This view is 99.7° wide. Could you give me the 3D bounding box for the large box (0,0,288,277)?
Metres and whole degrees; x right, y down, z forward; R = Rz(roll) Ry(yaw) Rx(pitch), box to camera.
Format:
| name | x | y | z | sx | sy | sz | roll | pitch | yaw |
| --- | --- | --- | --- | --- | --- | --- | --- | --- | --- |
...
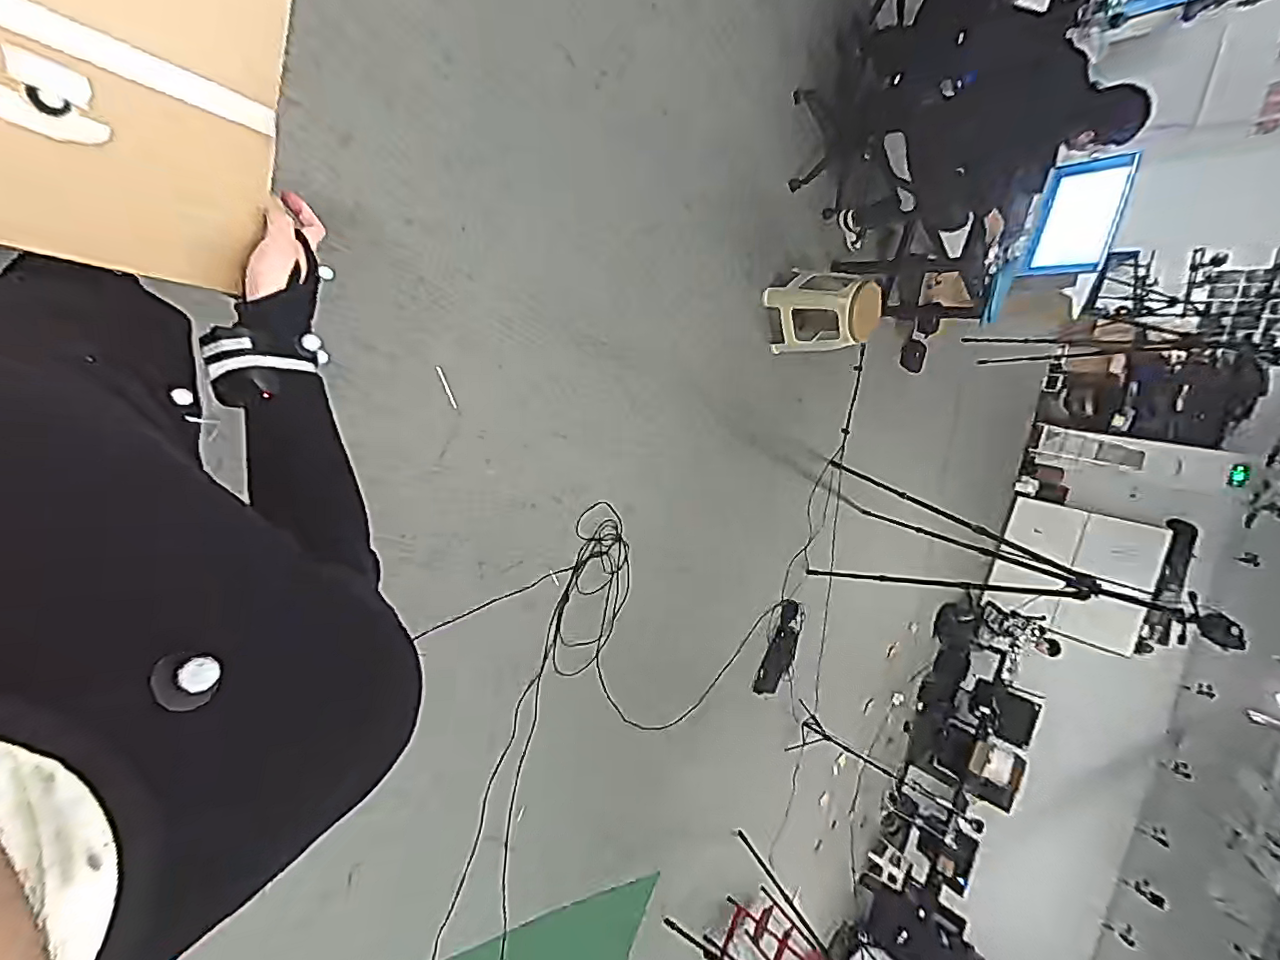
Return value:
| name | x | y | z | sx | sy | sz | roll | pitch | yaw |
| --- | --- | --- | --- | --- | --- | --- | --- | --- | --- |
| large box | -0.561 | -0.391 | 0.420 | 0.408 | 0.320 | 0.320 | -2 | 119 | -50 |
